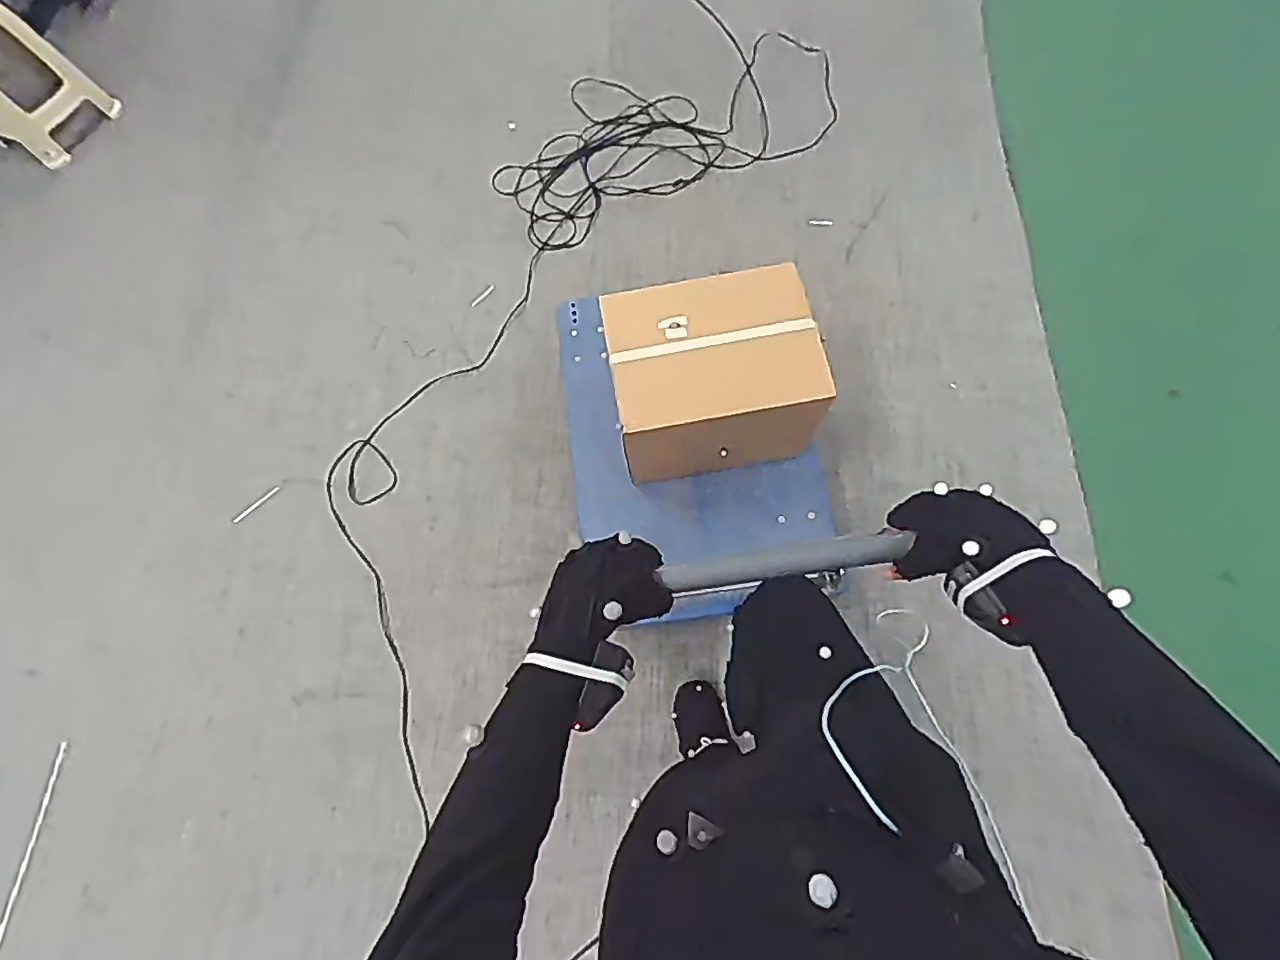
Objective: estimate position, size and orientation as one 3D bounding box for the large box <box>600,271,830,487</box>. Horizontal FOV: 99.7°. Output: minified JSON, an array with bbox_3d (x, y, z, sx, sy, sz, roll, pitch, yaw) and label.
[{"bbox_3d":[0.151,-0.204,1.204,0.408,0.320,0.320,-11,70,2],"label":"large box"}]
